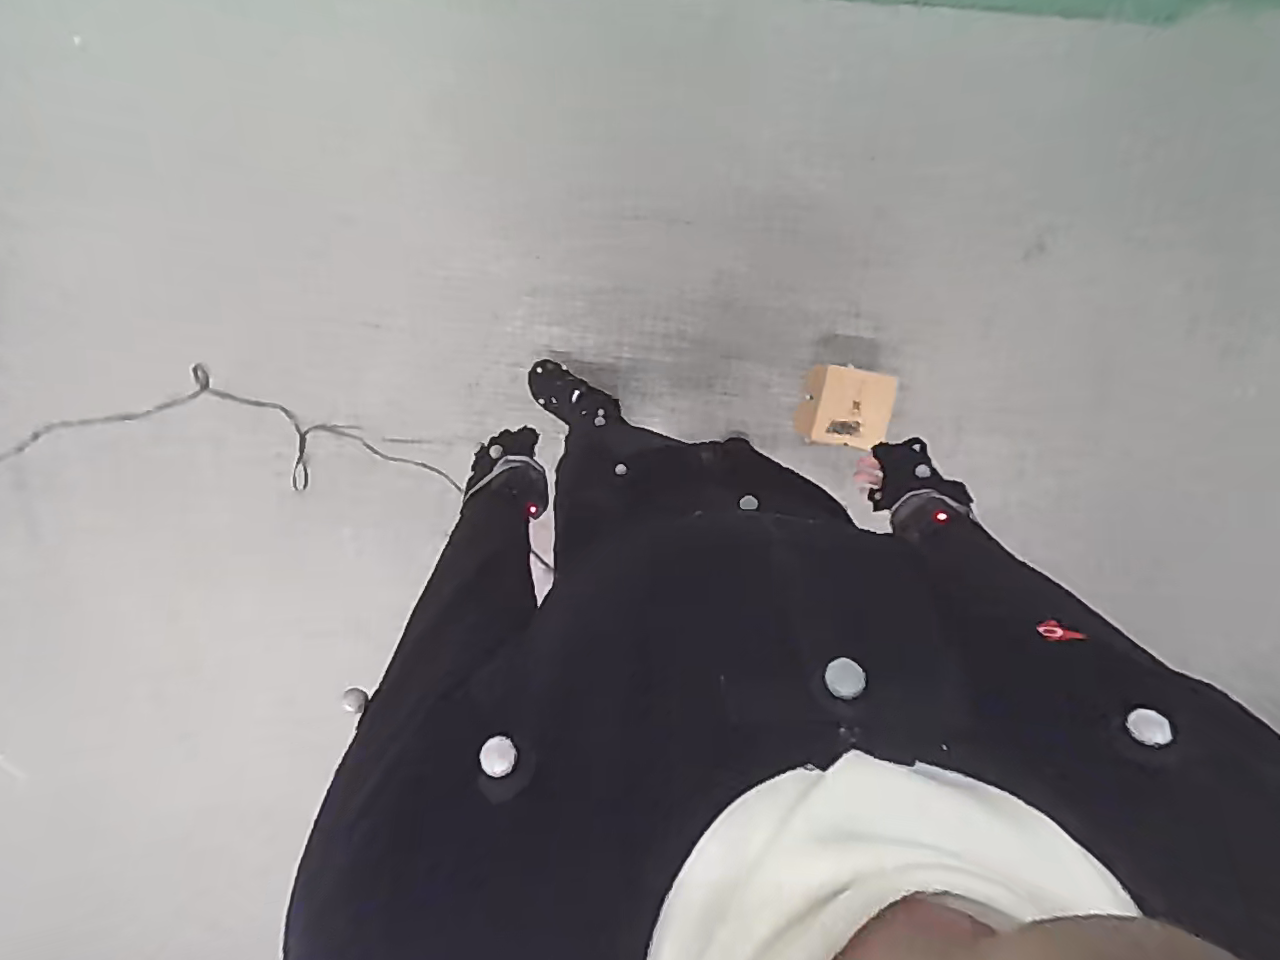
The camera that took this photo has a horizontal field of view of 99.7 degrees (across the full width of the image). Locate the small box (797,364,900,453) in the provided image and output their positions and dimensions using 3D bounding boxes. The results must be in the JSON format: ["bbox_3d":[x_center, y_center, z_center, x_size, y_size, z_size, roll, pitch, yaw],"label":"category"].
[{"bbox_3d":[0.490,-0.175,1.302,0.168,0.176,0.179,11,100,0],"label":"small box"}]
